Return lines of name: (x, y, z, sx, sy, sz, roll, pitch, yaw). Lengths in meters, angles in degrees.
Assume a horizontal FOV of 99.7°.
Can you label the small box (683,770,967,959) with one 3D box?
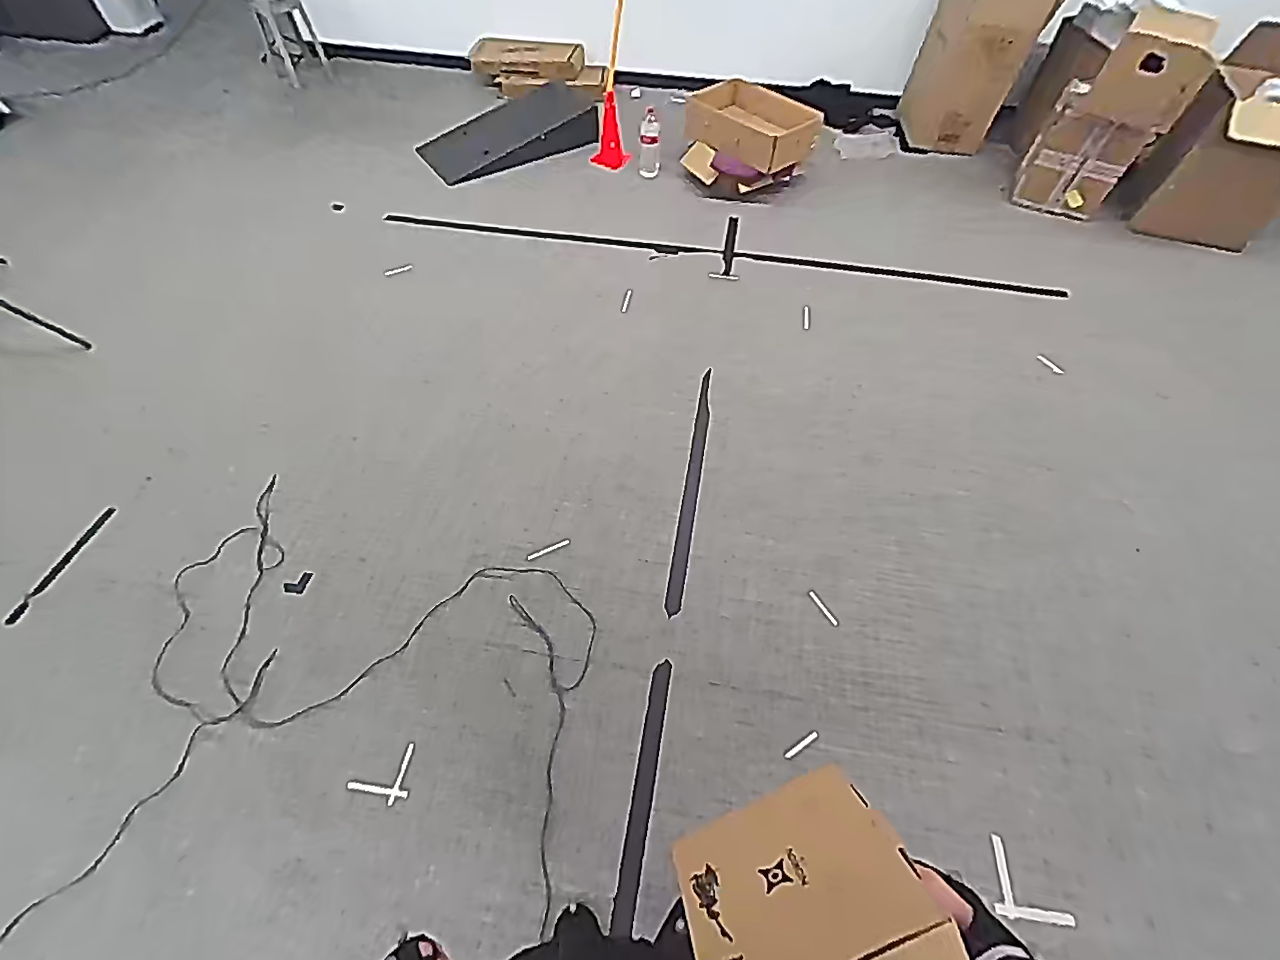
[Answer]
small box: (0.157, 0.397, 0.453, 0.179, 0.168, 0.176, -23, 97, -3)
